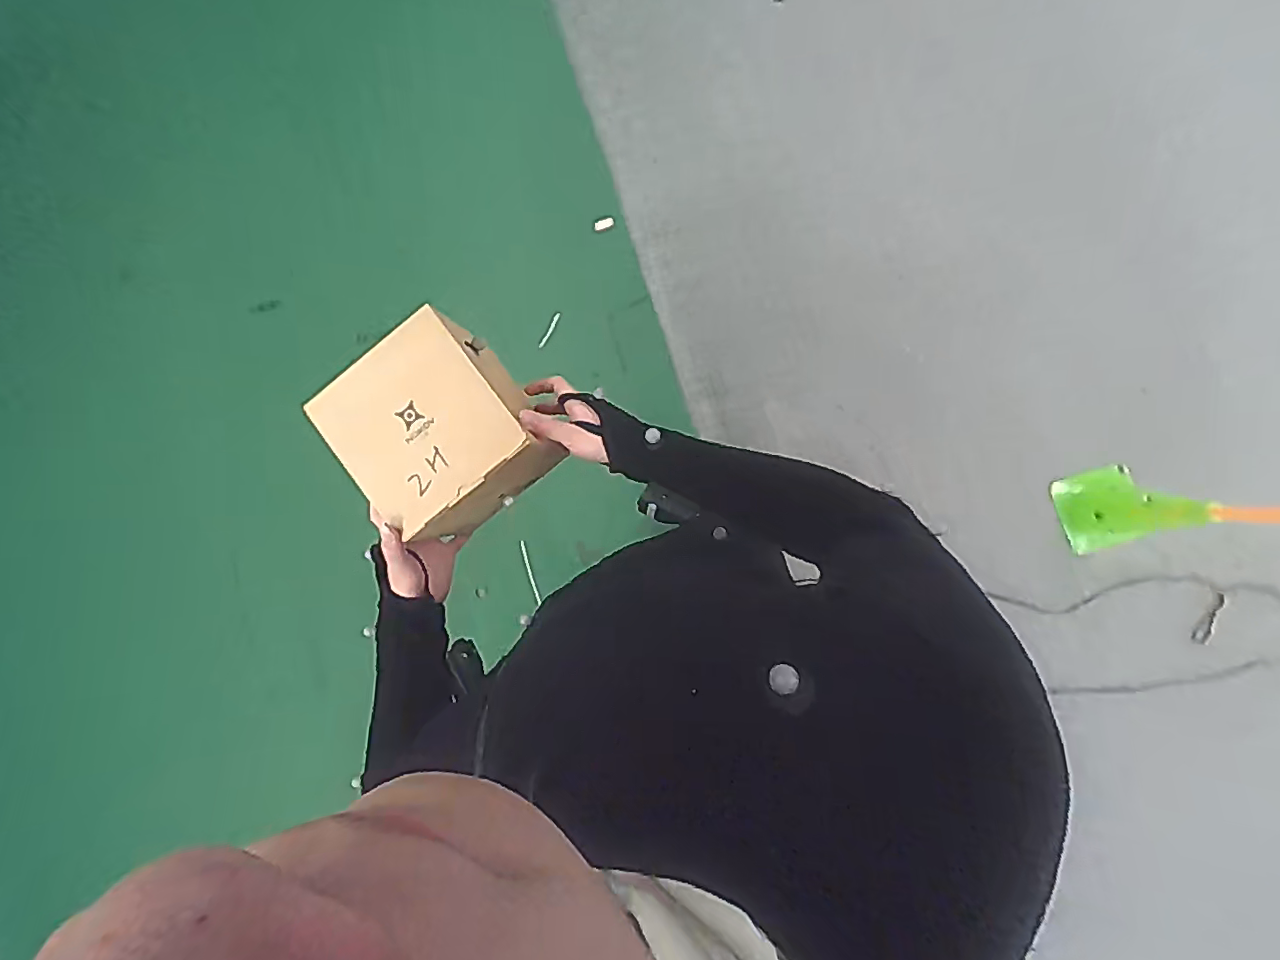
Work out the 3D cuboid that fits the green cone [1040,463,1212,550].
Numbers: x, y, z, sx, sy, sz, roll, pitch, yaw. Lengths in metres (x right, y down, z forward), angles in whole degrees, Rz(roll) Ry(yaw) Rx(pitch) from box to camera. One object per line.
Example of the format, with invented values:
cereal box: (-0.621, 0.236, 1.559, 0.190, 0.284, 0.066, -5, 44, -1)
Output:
green cone: (1.196, 0.073, 1.308, 0.200, 0.368, 0.202, -20, 87, 8)
